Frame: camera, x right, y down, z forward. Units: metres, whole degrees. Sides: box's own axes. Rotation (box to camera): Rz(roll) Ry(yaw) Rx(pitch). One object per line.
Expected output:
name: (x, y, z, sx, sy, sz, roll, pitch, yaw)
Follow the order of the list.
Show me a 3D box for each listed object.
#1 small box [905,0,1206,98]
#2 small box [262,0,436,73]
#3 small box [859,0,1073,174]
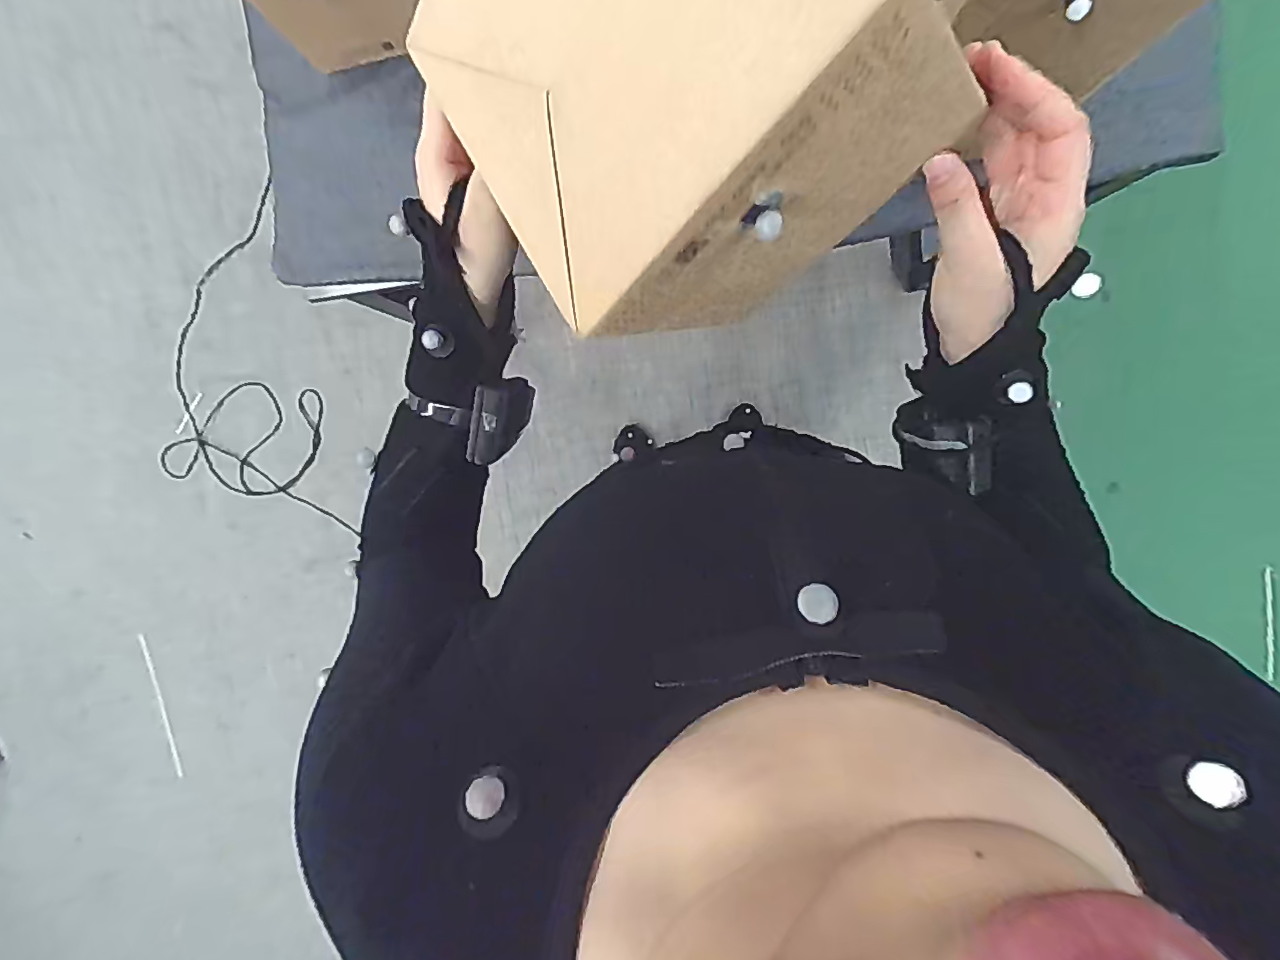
small box: (0.348, -0.448, 0.443, 0.179, 0.176, 0.168, 5, 95, 4)
small box: (-0.363, -0.630, 0.629, 0.168, 0.176, 0.179, -11, 96, 4)
small box: (0.356, -0.478, 0.603, 0.168, 0.176, 0.179, -6, 96, 5)
